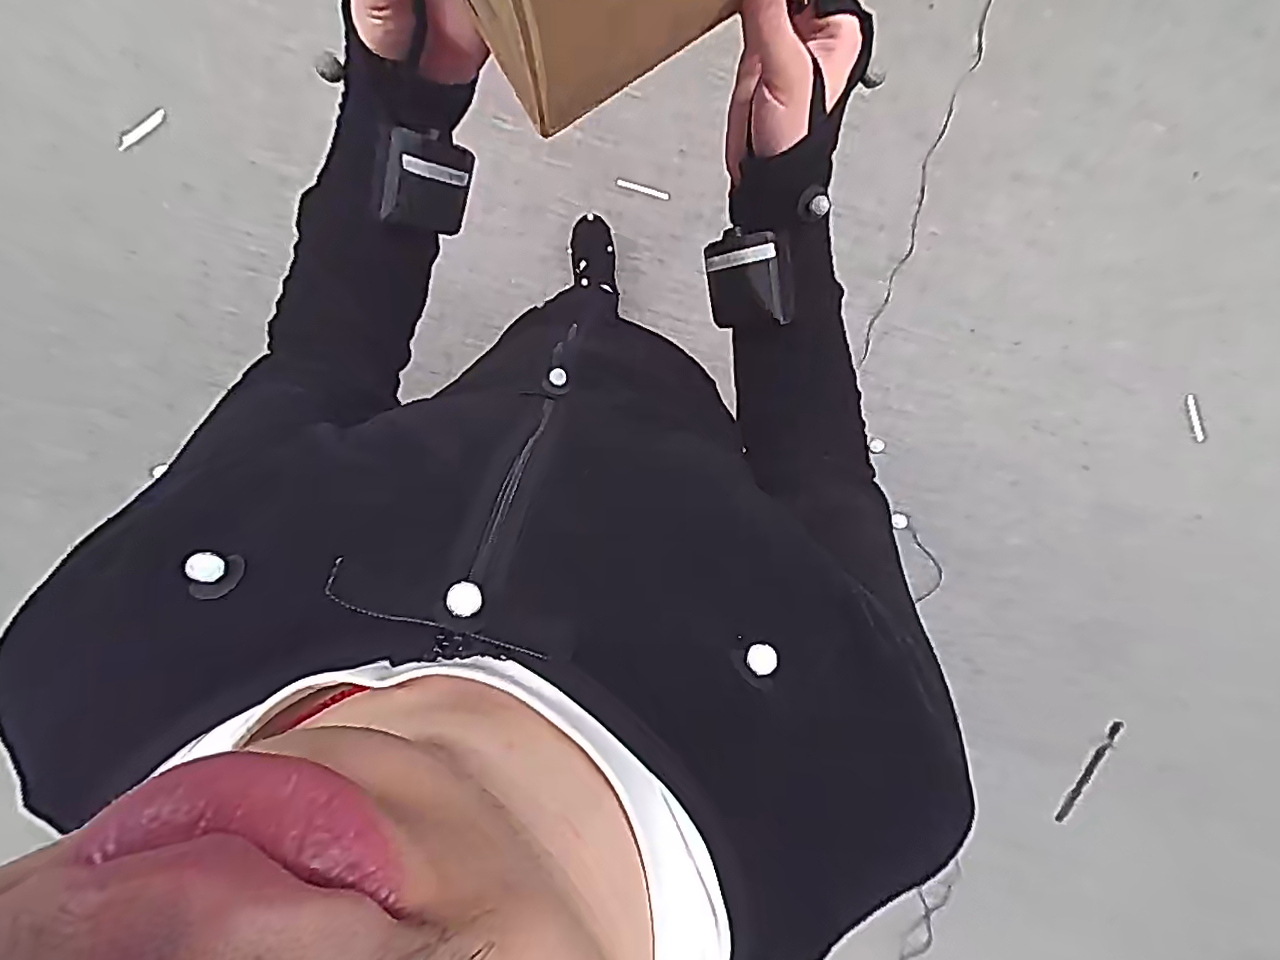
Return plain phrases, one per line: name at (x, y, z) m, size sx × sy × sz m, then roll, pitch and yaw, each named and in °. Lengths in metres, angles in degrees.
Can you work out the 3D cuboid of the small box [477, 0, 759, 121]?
small box at (-0.012, -0.287, 0.211) m, size 0.179 × 0.176 × 0.168 m, roll -32°, pitch 107°, yaw 2°
